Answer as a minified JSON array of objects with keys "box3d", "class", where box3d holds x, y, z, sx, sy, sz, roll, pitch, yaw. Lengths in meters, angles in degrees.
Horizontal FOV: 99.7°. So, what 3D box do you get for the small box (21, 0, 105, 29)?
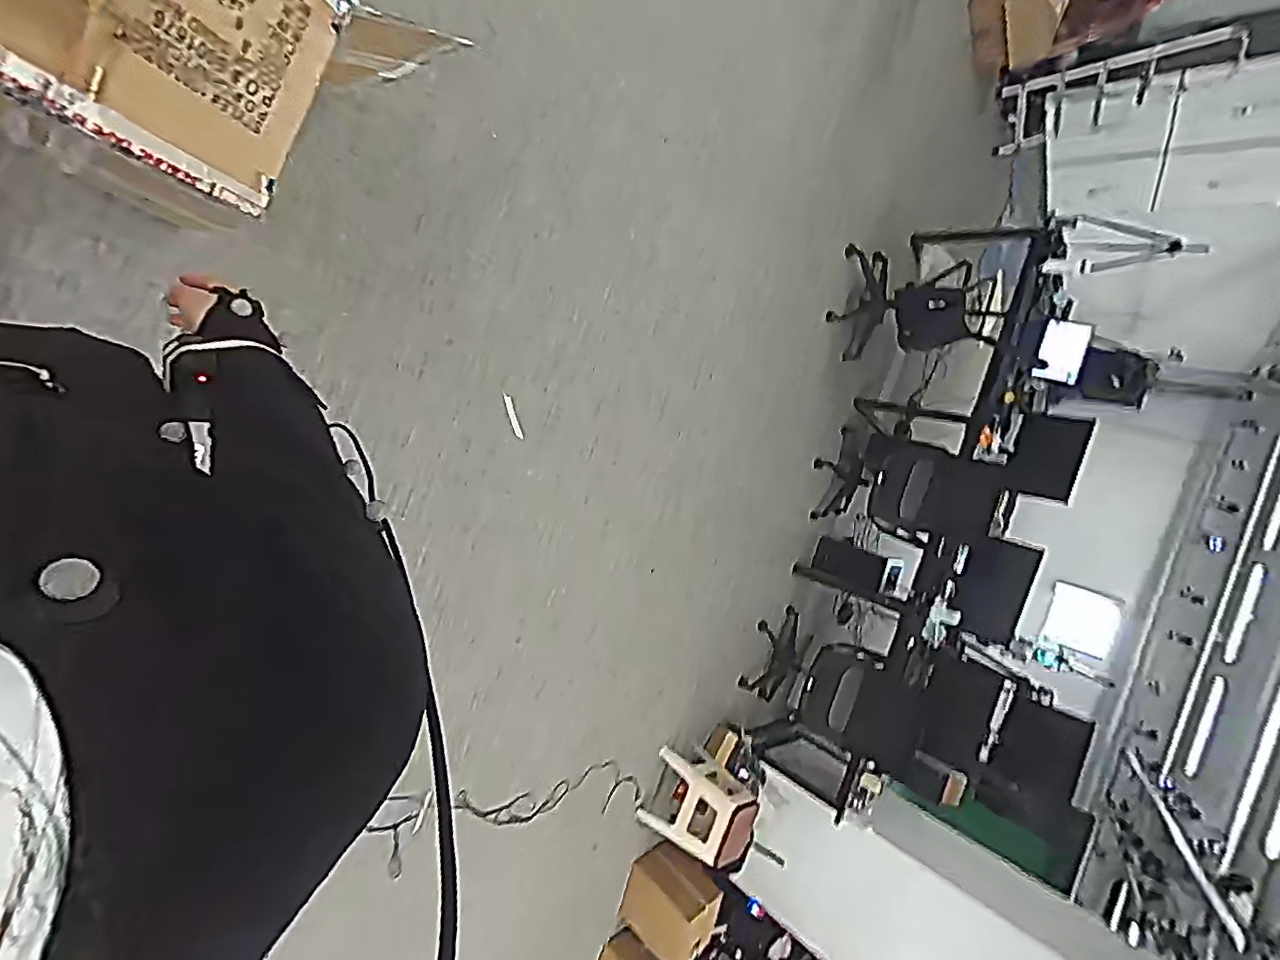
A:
[{"box3d":[-0.540,-0.531,0.447,0.179,0.176,0.168,27,87,-51],"class":"small box"}]
